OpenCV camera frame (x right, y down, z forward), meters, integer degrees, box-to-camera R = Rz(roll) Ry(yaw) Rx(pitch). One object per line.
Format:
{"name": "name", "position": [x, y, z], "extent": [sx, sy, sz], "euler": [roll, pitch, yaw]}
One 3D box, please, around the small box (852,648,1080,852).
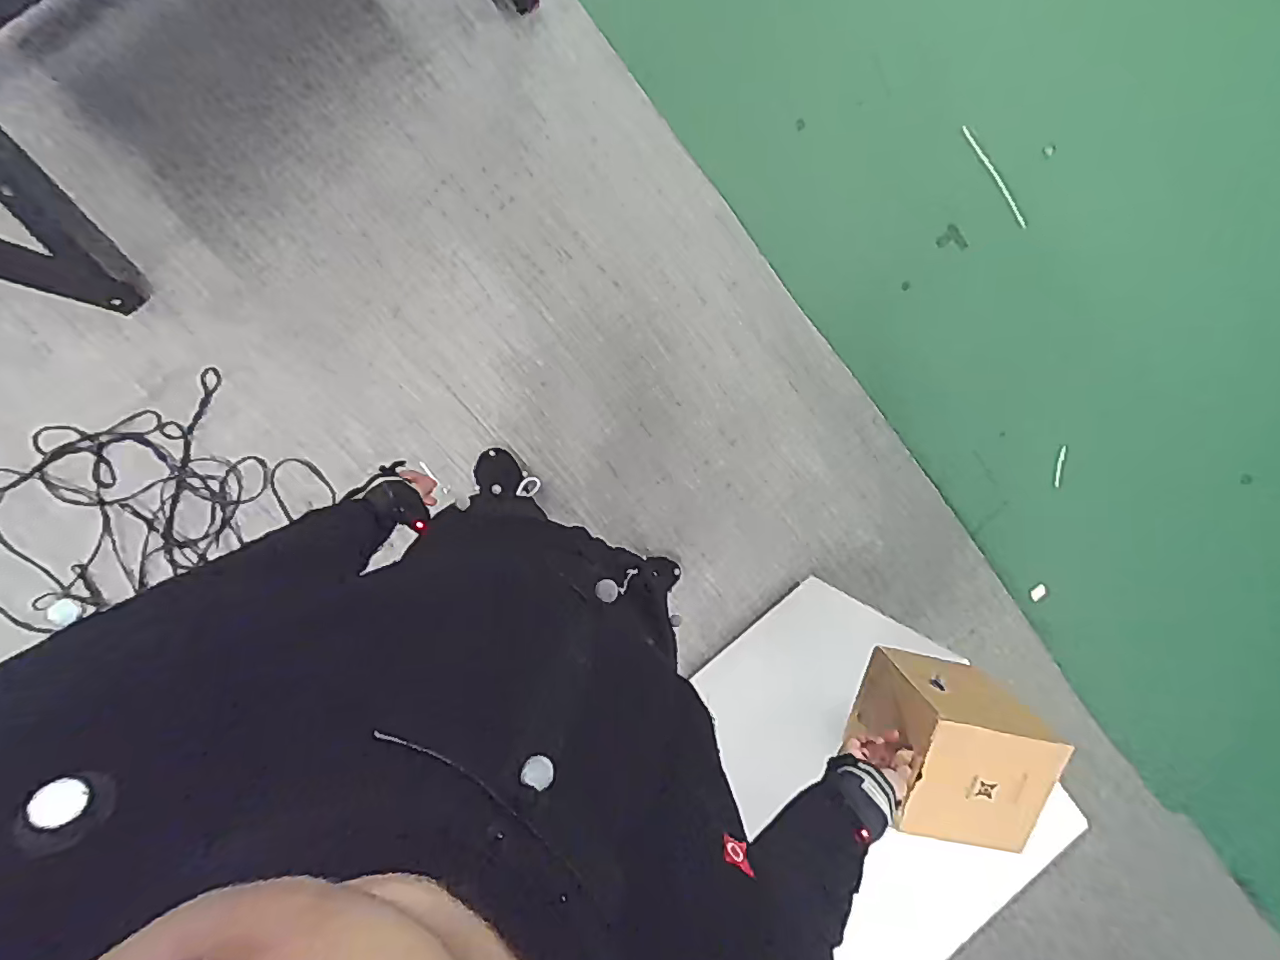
{"name": "small box", "position": [0.413, 0.347, 0.722], "extent": [0.179, 0.176, 0.168], "euler": [12, 102, -6]}
